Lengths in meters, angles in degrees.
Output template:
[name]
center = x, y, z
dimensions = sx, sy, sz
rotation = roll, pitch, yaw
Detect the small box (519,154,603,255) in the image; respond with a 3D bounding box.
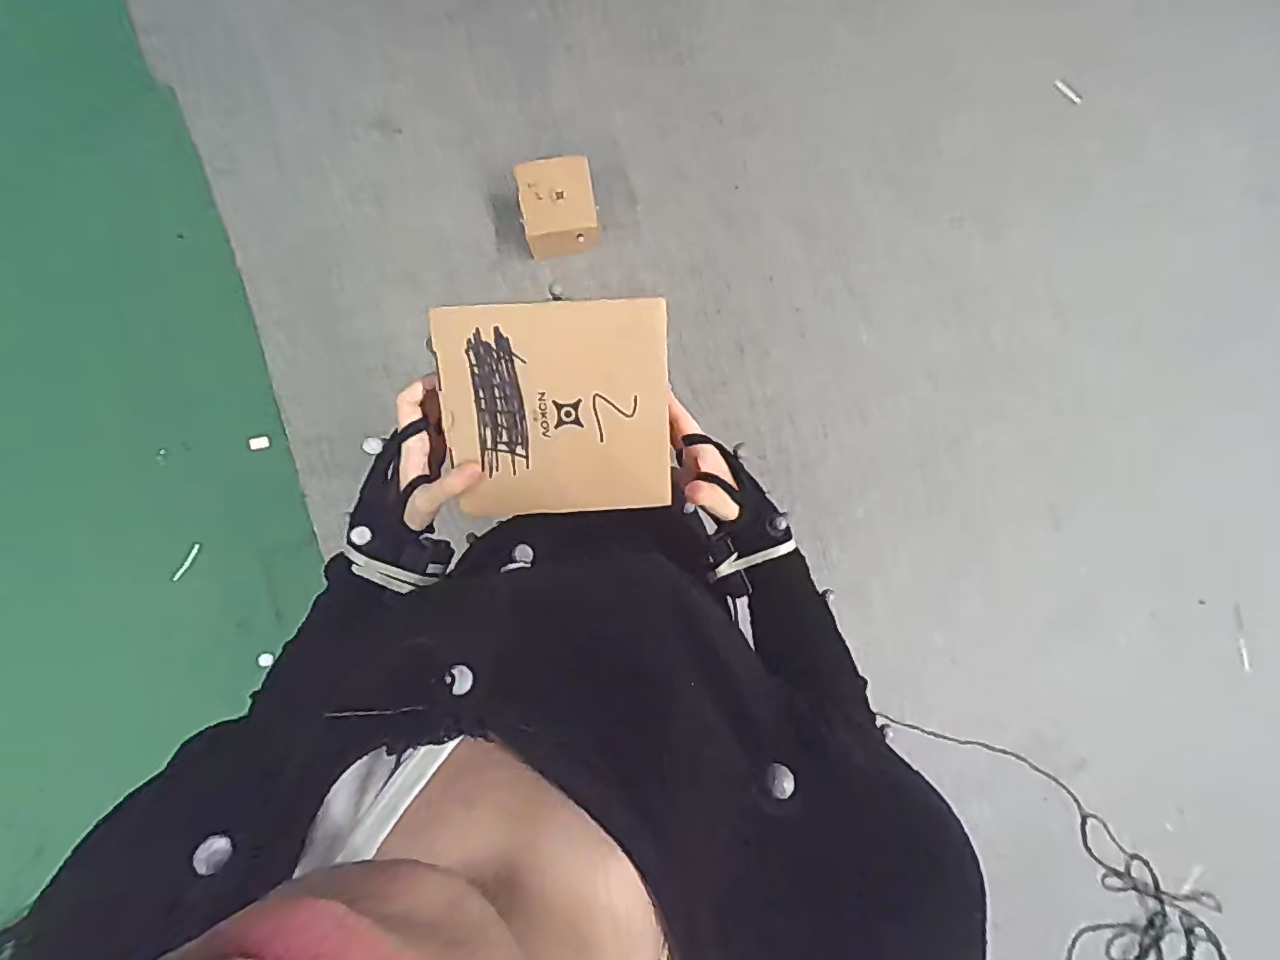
[small box]
center = -0.191, -0.678, 1.346
dimensions = 0.179, 0.176, 0.168
rotation = -9, 95, -2
